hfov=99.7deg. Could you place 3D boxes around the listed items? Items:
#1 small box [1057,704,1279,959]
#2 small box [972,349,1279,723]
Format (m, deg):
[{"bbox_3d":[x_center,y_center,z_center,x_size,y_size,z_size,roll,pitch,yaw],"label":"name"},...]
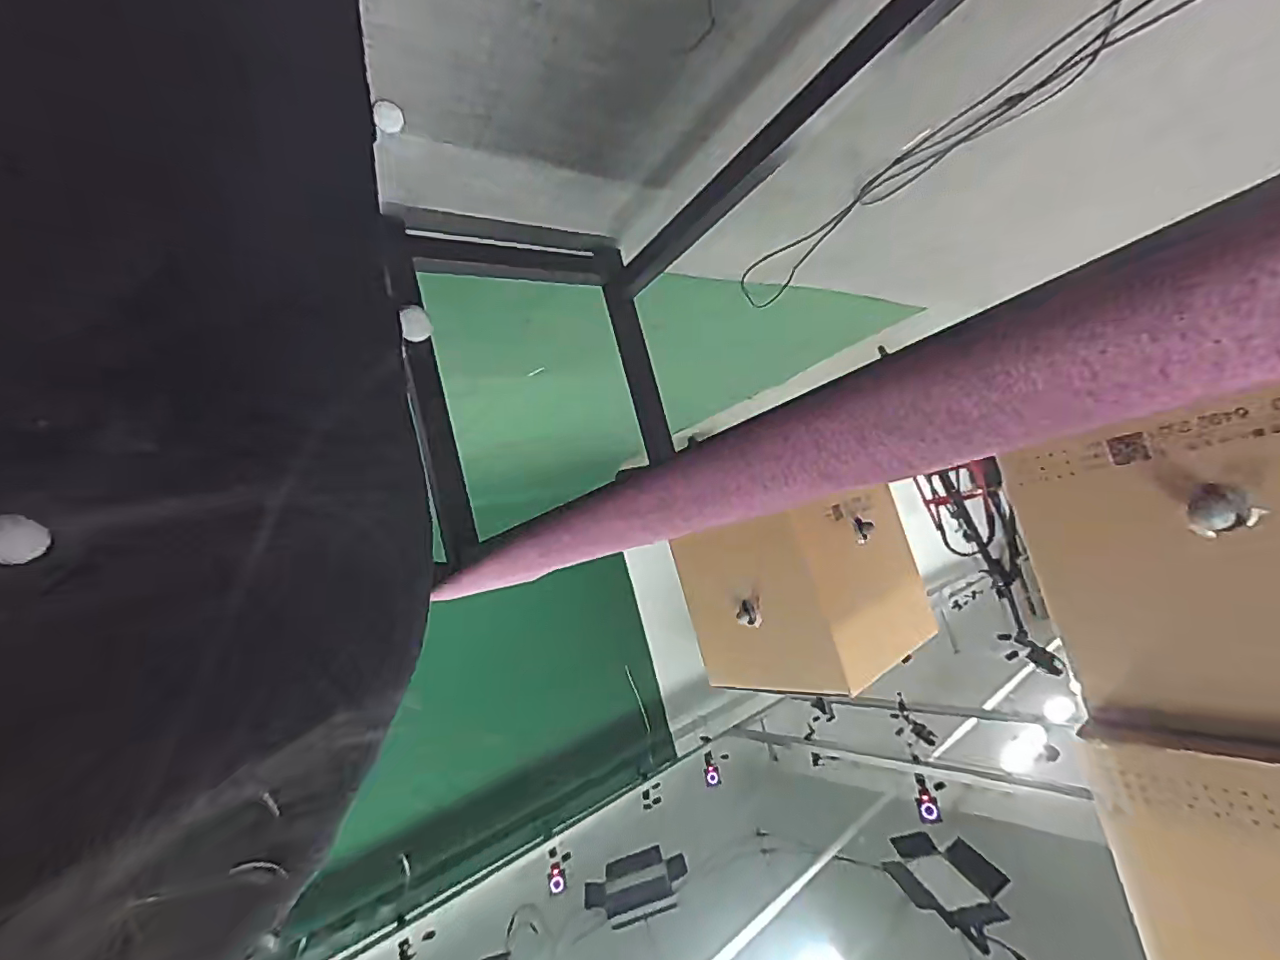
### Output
[{"bbox_3d":[0.362,0.181,0.287,0.168,0.176,0.179,-11,172,-34],"label":"small box"},{"bbox_3d":[0.334,0.021,0.311,0.179,0.176,0.168,-12,173,-34],"label":"small box"}]
